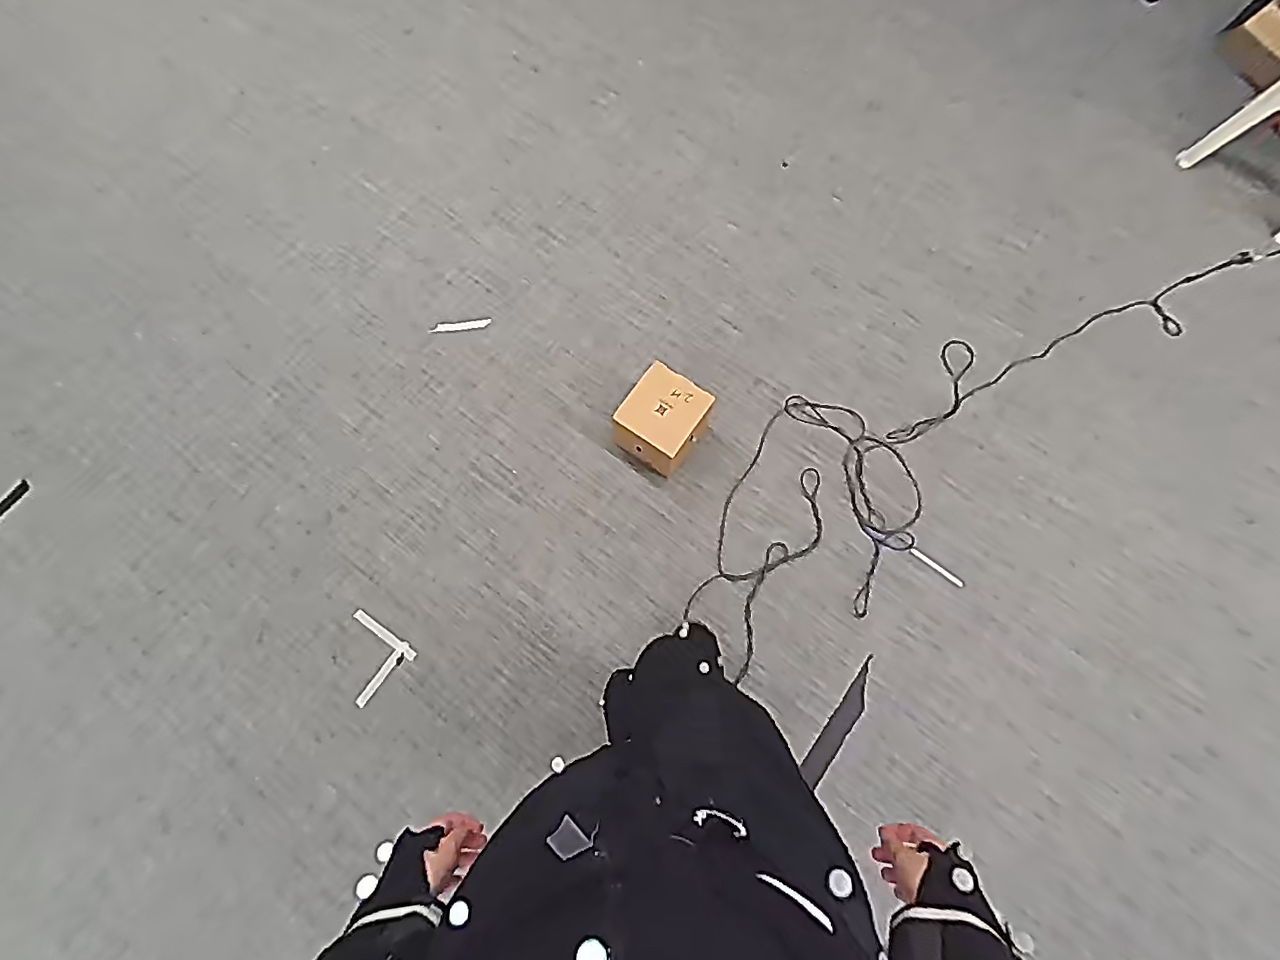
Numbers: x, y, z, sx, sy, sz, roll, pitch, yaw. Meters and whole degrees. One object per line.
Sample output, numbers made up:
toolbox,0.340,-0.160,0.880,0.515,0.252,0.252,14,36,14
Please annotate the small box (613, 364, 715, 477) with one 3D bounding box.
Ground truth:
small box,0.055,-0.132,1.272,0.168,0.176,0.179,34,77,9
